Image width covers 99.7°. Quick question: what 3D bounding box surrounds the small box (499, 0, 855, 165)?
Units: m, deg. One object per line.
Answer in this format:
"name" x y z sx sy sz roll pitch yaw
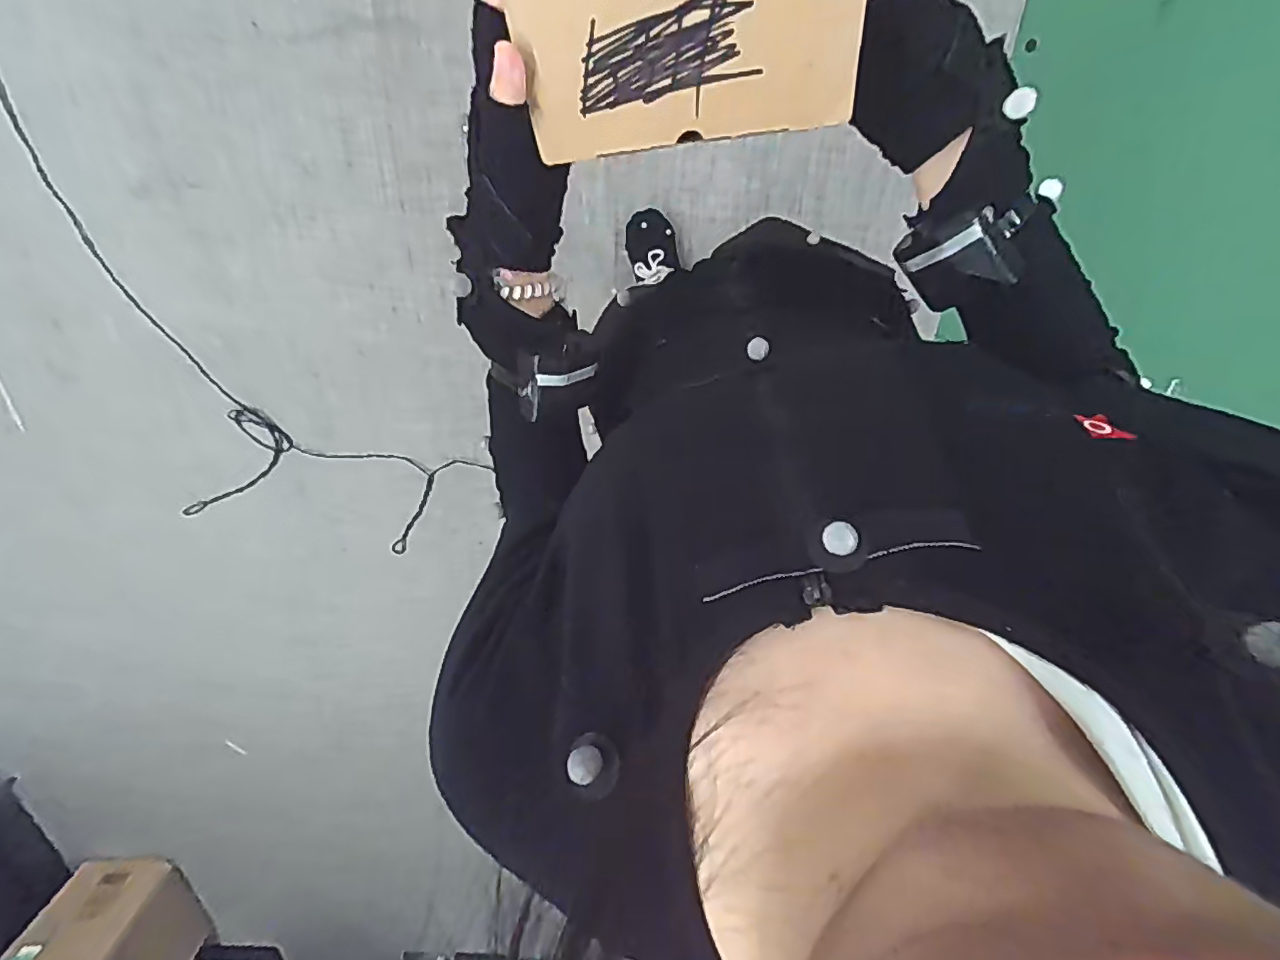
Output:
"small box" 0.018 -0.297 0.282 0.168 0.176 0.179 -3 138 8
